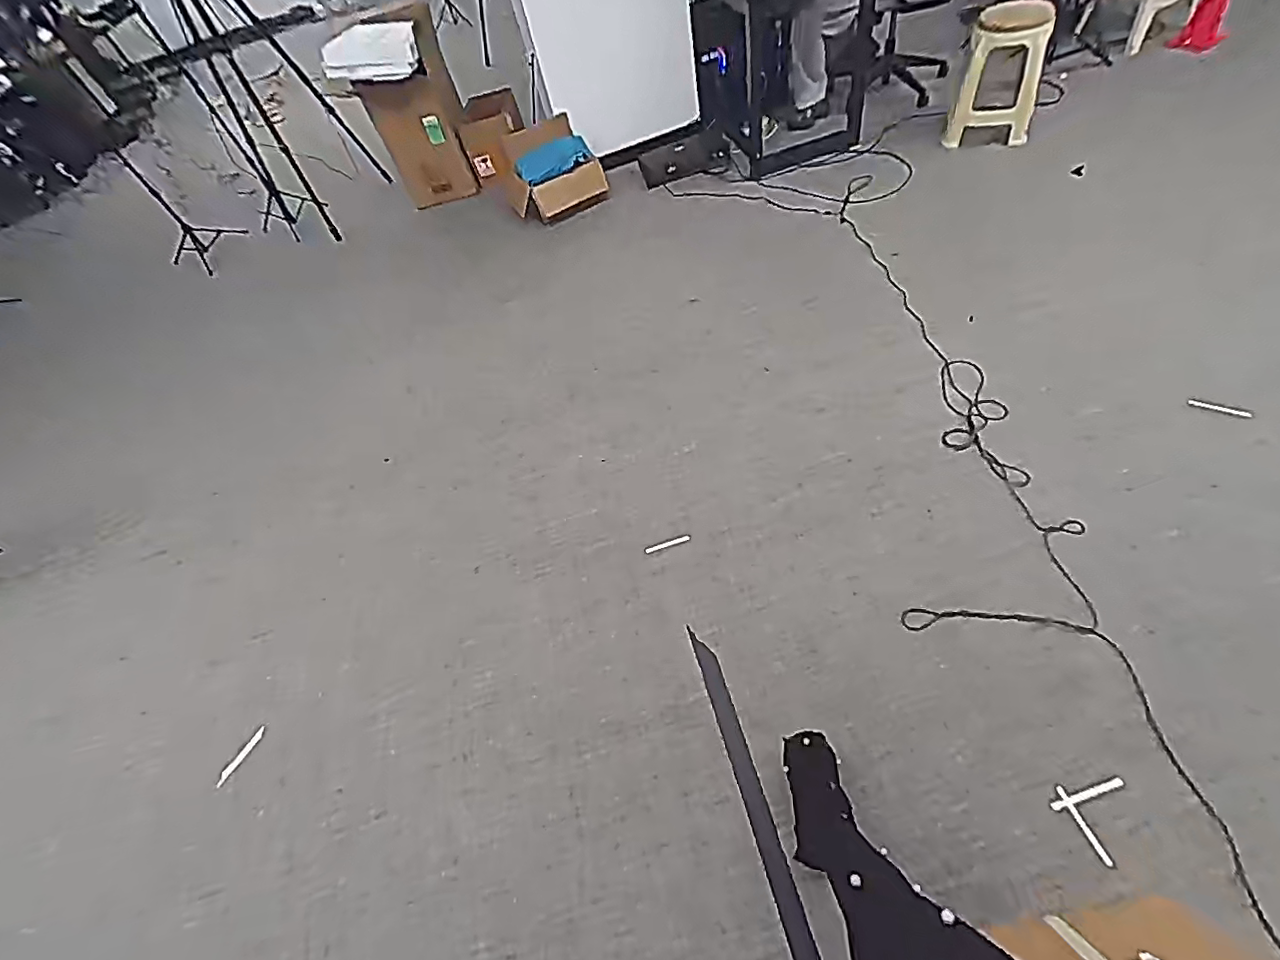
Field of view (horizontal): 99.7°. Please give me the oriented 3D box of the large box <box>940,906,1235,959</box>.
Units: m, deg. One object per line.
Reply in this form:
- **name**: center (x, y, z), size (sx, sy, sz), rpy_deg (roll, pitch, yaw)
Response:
- **large box**: center (0.591, 0.733, 0.544), size (0.320, 0.408, 0.320), rpy_deg (-12, 76, 3)
